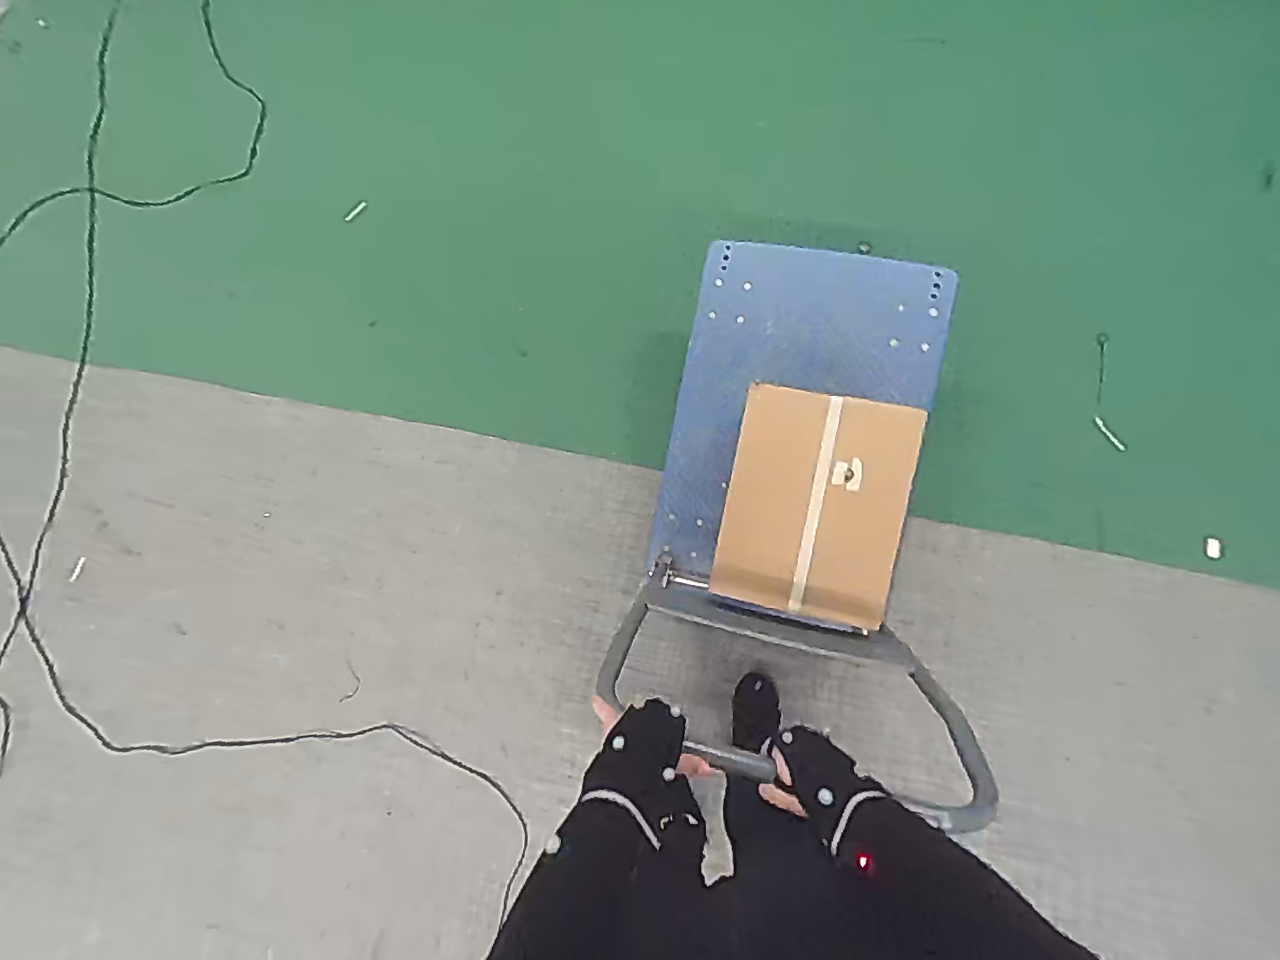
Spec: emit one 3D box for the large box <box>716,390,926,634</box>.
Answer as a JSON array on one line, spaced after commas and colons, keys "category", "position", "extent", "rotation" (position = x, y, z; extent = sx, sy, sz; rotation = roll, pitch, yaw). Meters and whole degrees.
[{"category": "large box", "position": [0.350, 0.058, 1.125], "extent": [0.320, 0.320, 0.408], "rotation": [11, 91, 10]}]
